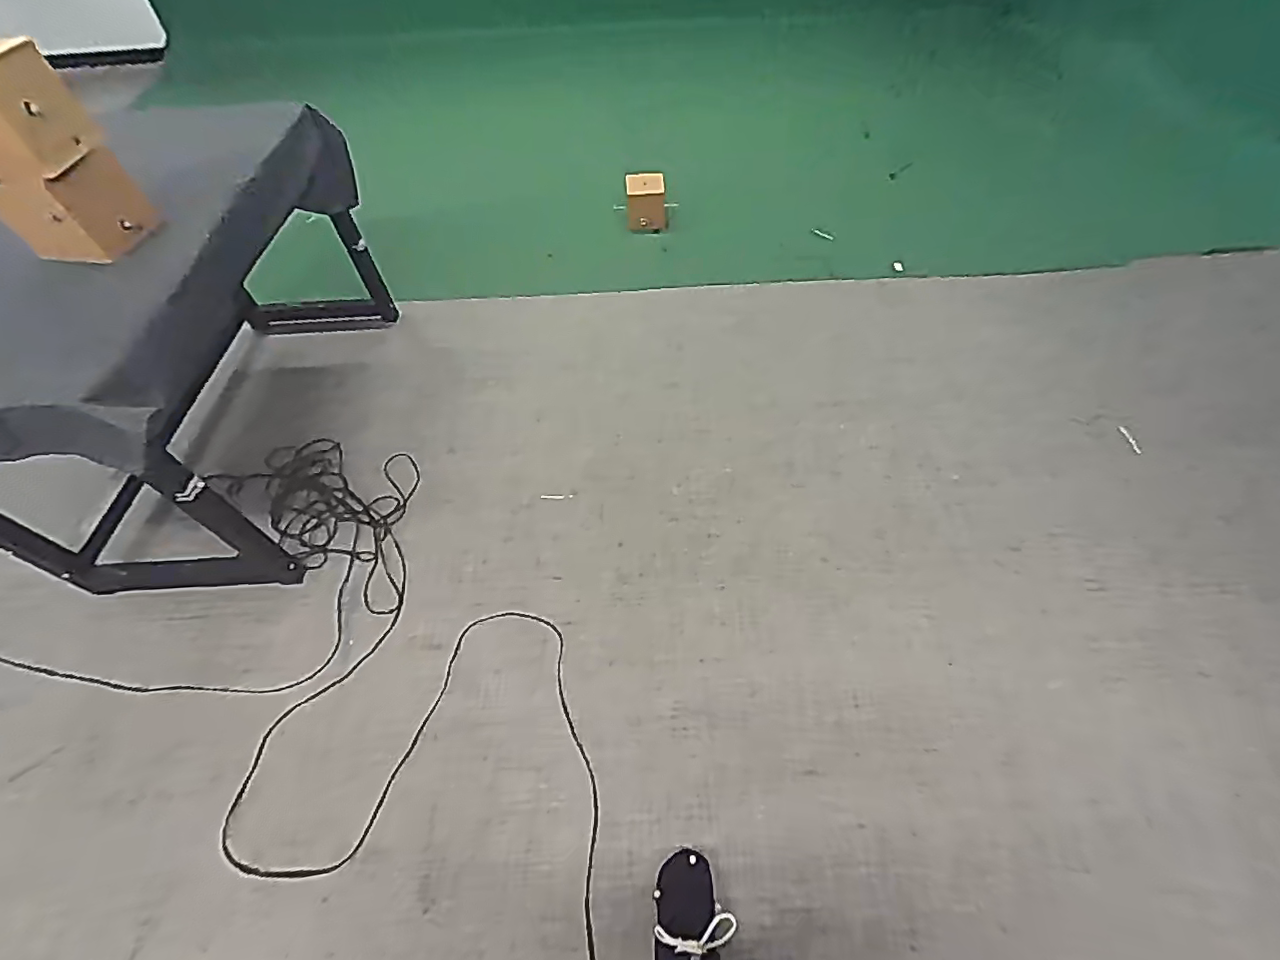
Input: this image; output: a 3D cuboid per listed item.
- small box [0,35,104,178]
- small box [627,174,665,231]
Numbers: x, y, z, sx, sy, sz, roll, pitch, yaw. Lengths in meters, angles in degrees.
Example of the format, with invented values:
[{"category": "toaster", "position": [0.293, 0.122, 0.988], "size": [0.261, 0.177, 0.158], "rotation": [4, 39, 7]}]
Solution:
[{"category": "small box", "position": [-1.146, -0.663, 0.969], "size": [0.179, 0.176, 0.168], "rotation": [-1, 55, 2]}, {"category": "small box", "position": [0.026, -1.250, 2.437], "size": [0.168, 0.176, 0.179], "rotation": [-4, 55, 1]}]
